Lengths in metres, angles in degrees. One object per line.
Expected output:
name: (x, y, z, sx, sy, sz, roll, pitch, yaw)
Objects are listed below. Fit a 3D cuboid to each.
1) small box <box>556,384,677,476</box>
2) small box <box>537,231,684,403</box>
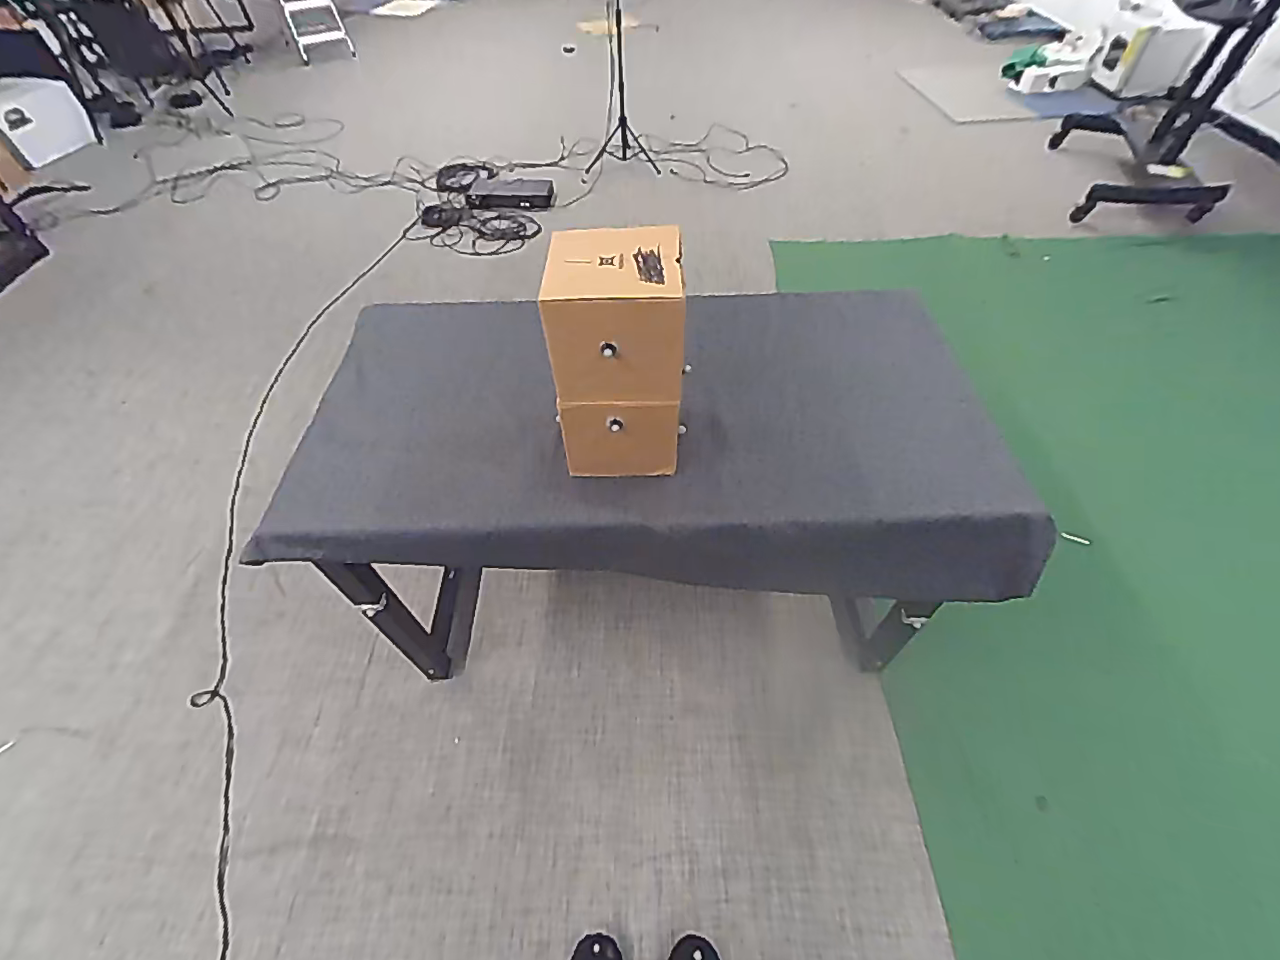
small box: (-0.031, -0.118, 0.875, 0.179, 0.176, 0.168, 0, 53, 0)
small box: (-0.032, -0.221, 0.747, 0.179, 0.176, 0.168, -1, 52, 3)
